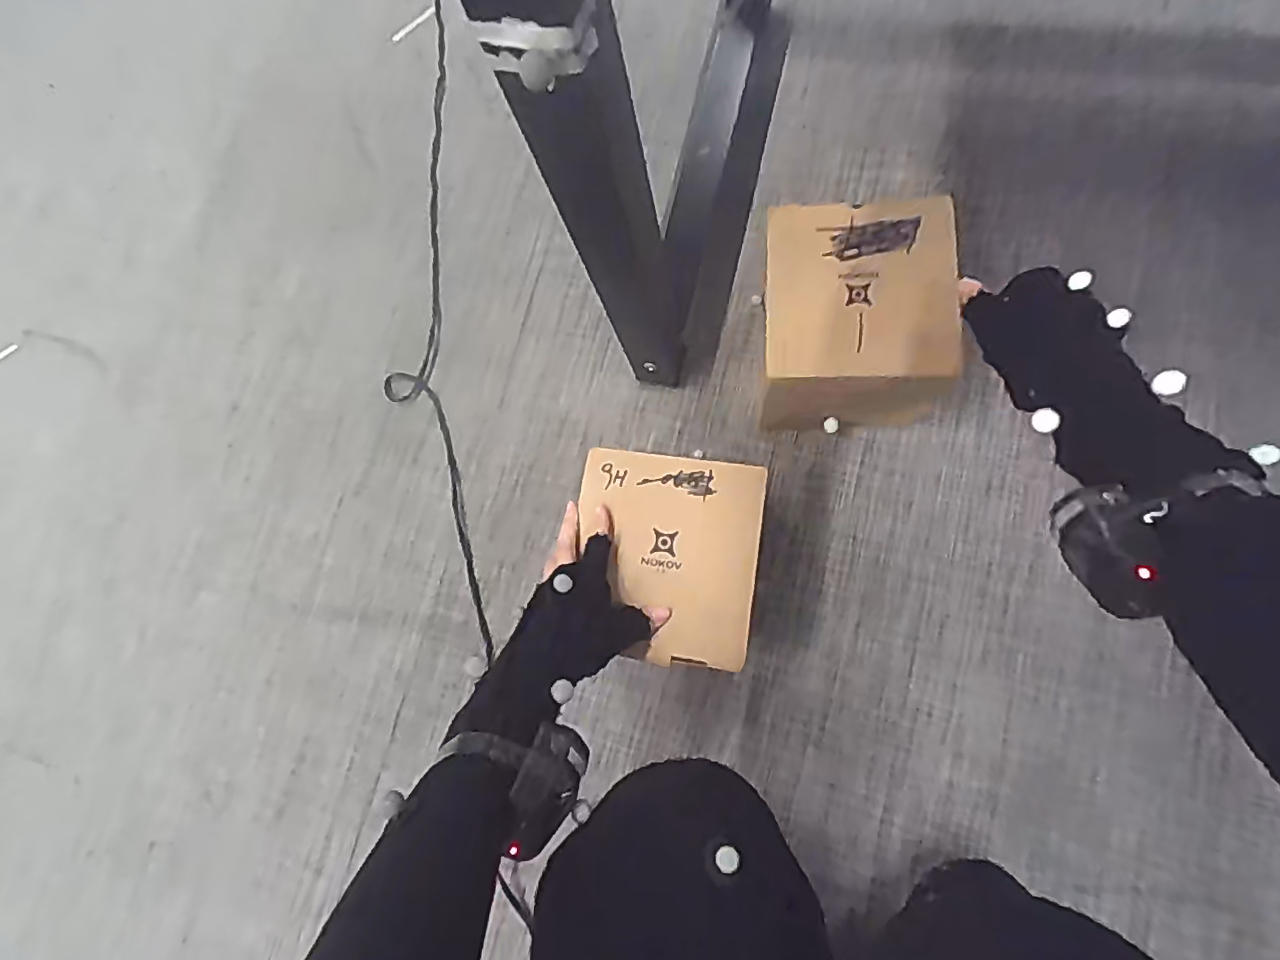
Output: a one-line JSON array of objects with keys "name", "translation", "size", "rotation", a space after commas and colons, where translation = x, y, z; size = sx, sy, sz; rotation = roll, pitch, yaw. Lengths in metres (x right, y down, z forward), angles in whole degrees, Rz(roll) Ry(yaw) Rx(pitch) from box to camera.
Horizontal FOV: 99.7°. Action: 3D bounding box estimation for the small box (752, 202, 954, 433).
[{"name": "small box", "translation": [0.208, -0.160, 0.570], "size": [0.168, 0.176, 0.179], "rotation": [3, 80, 9]}]
